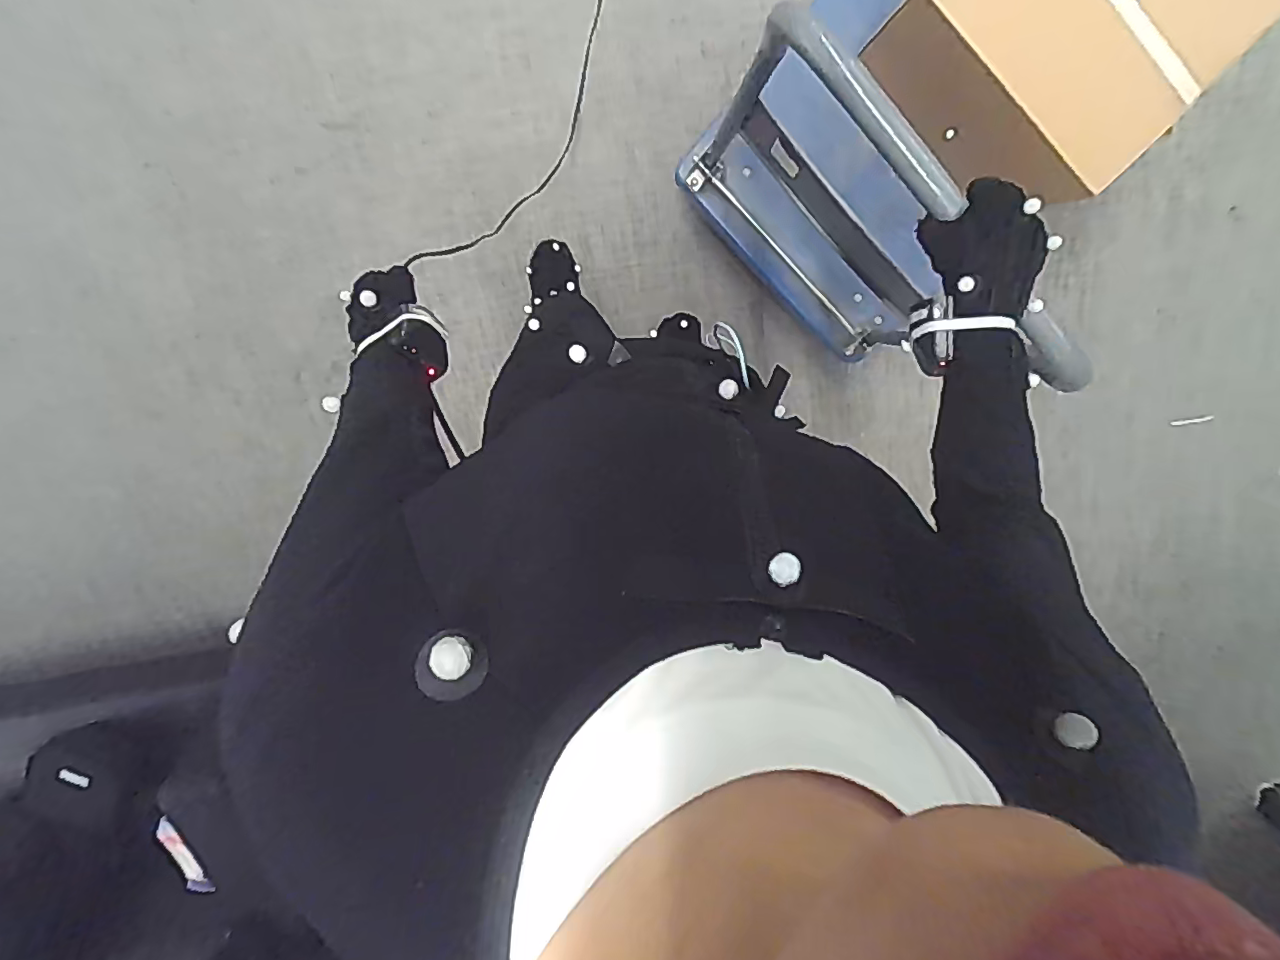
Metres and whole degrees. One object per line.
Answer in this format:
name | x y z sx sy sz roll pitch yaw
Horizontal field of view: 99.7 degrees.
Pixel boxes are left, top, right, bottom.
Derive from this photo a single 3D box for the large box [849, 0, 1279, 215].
large box | 0.632 -0.707 0.881 0.408 0.320 0.320 38 106 -11
